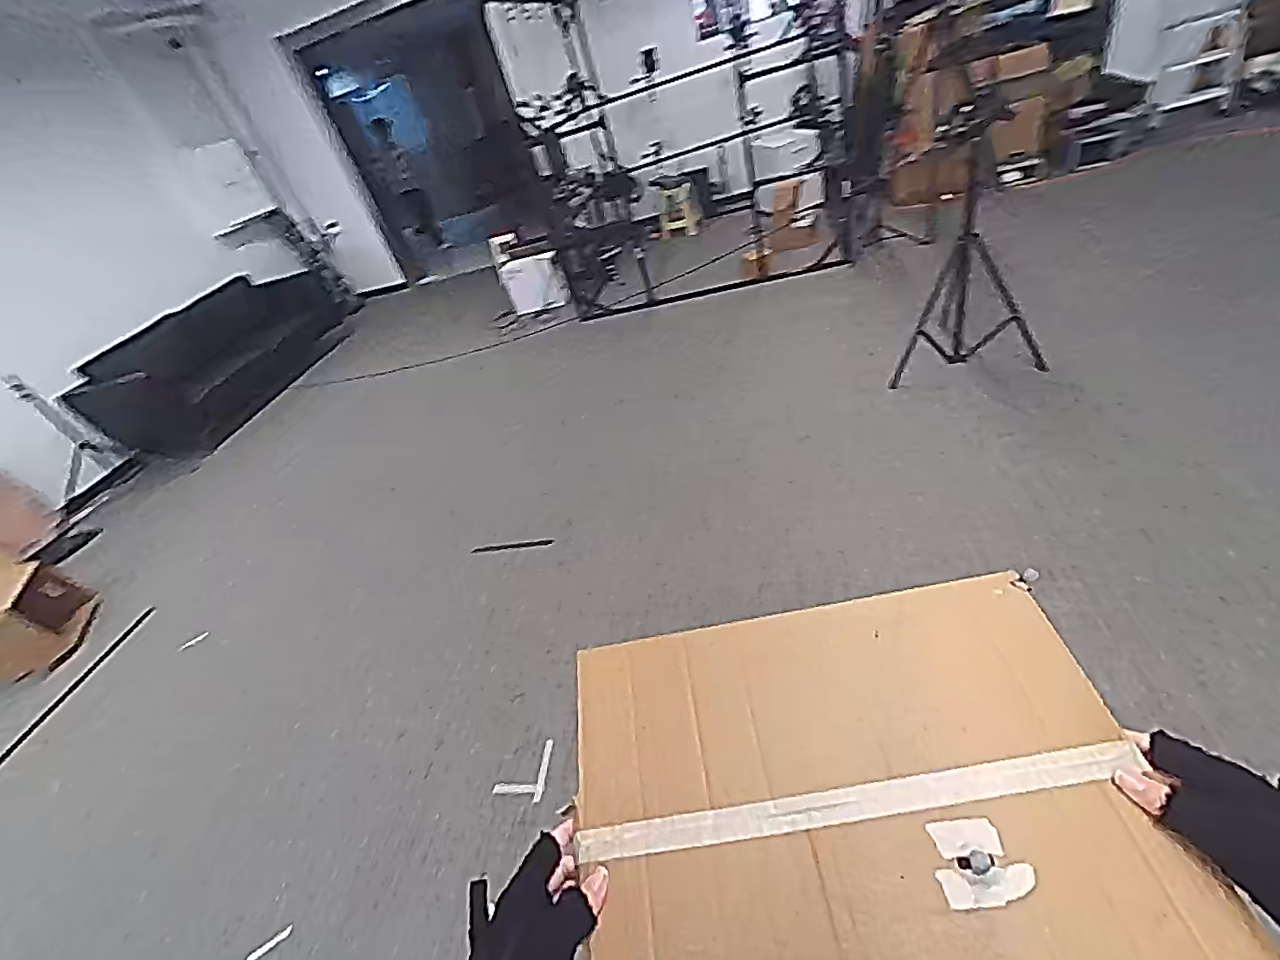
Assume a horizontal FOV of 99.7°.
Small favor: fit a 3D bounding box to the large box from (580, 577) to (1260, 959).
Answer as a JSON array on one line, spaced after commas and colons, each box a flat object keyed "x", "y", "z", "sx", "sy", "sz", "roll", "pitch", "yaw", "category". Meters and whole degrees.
[{"x": 0.181, "y": 0.342, "z": 0.512, "sx": 0.408, "sy": 0.320, "sz": 0.320, "roll": -13, "pitch": 47, "yaw": 3, "category": "large box"}]
